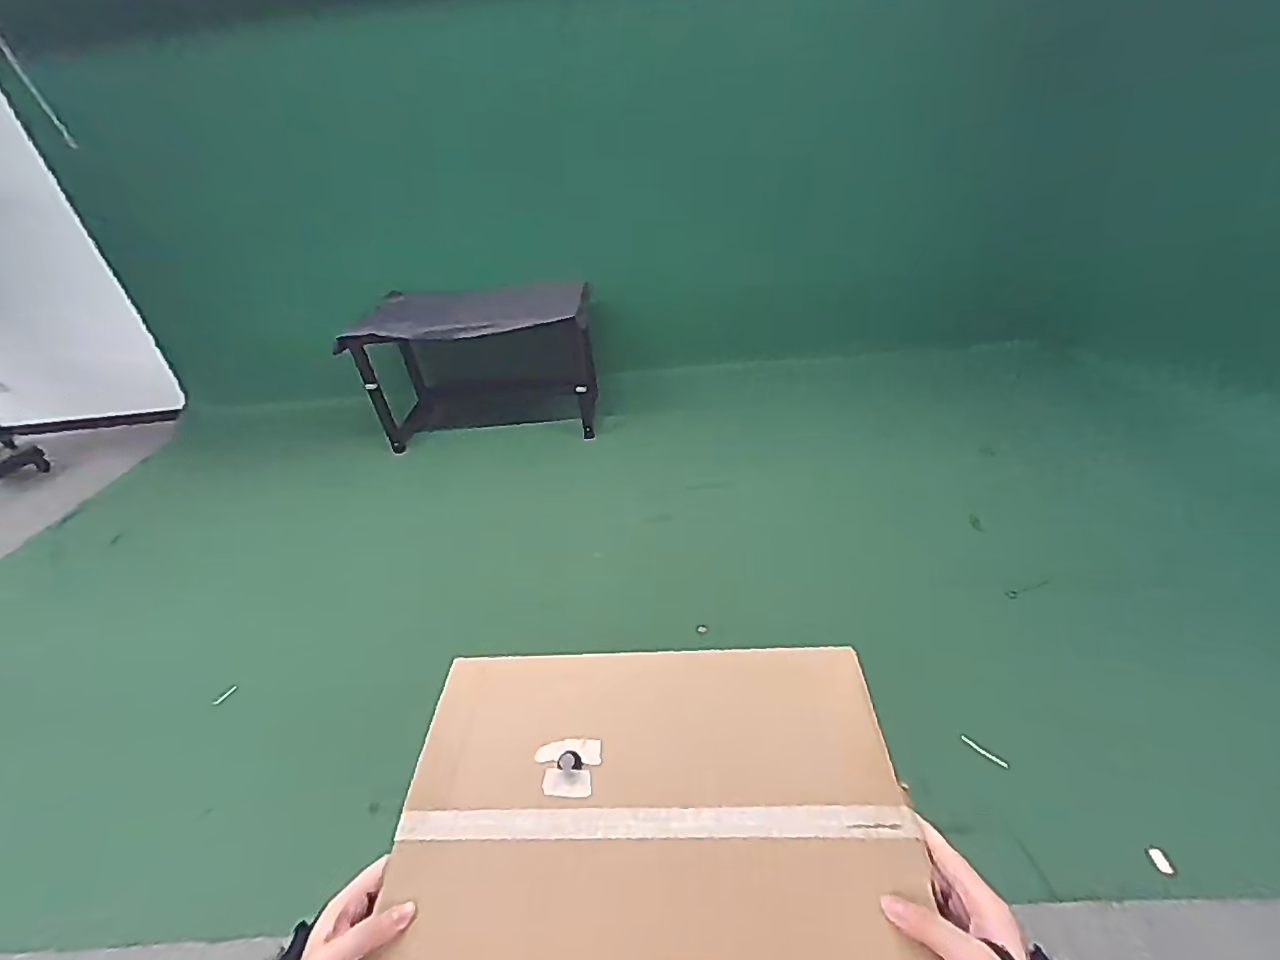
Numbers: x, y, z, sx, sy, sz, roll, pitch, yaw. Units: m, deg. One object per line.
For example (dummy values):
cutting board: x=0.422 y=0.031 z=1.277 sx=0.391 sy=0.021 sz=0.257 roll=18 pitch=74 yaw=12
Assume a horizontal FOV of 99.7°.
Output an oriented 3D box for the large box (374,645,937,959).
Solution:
large box: x=0.023 y=0.395 z=0.537 sx=0.408 sy=0.320 sz=0.320 roll=-5 pitch=39 yaw=6
